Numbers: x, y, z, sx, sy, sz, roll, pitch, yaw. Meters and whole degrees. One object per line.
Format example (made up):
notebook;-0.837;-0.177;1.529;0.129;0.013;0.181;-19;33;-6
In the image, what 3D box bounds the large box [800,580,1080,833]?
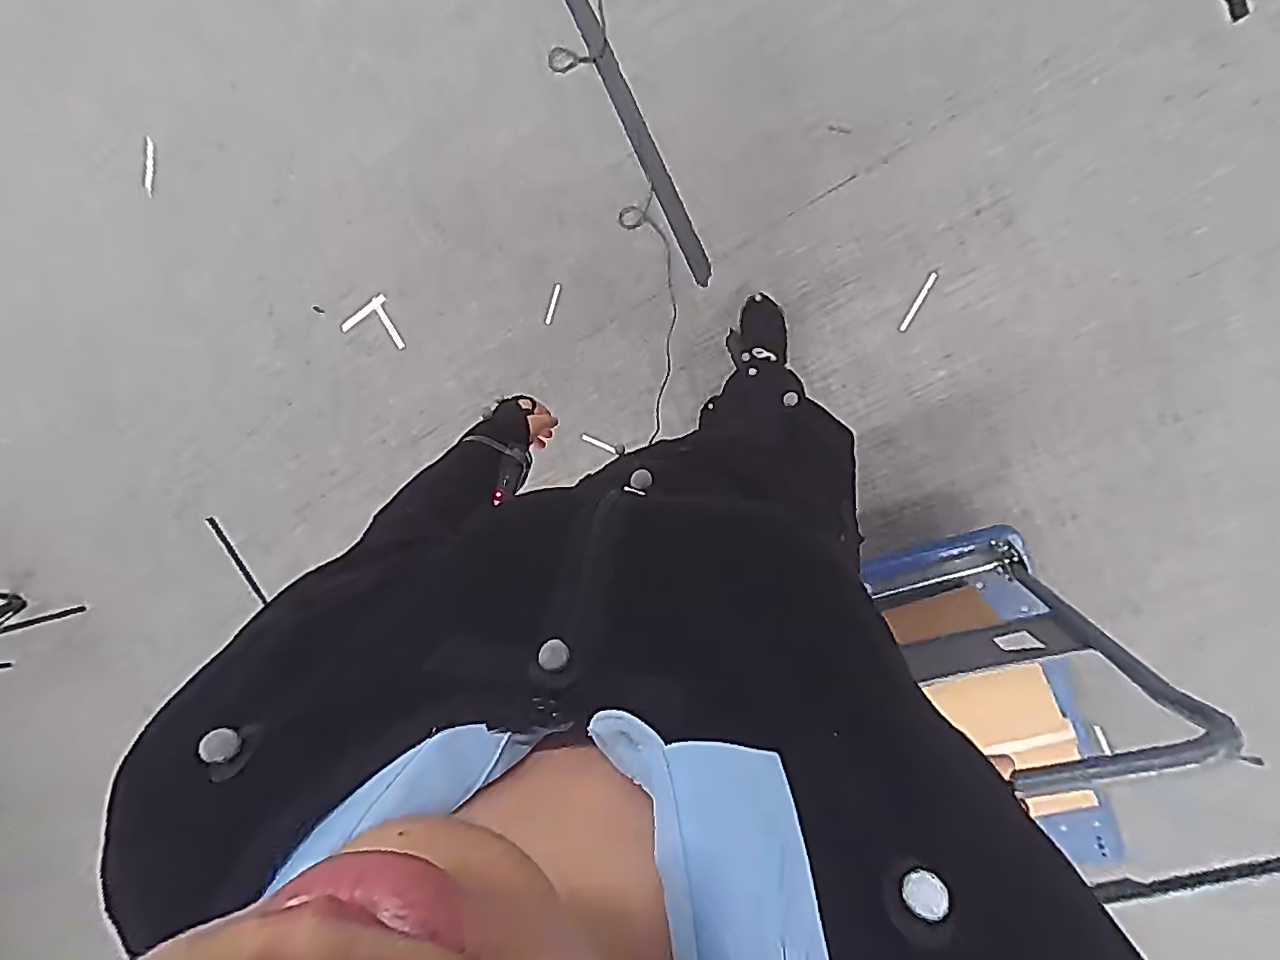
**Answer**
large box;0.600;0.471;1.164;0.408;0.320;0.320;-25;96;18
